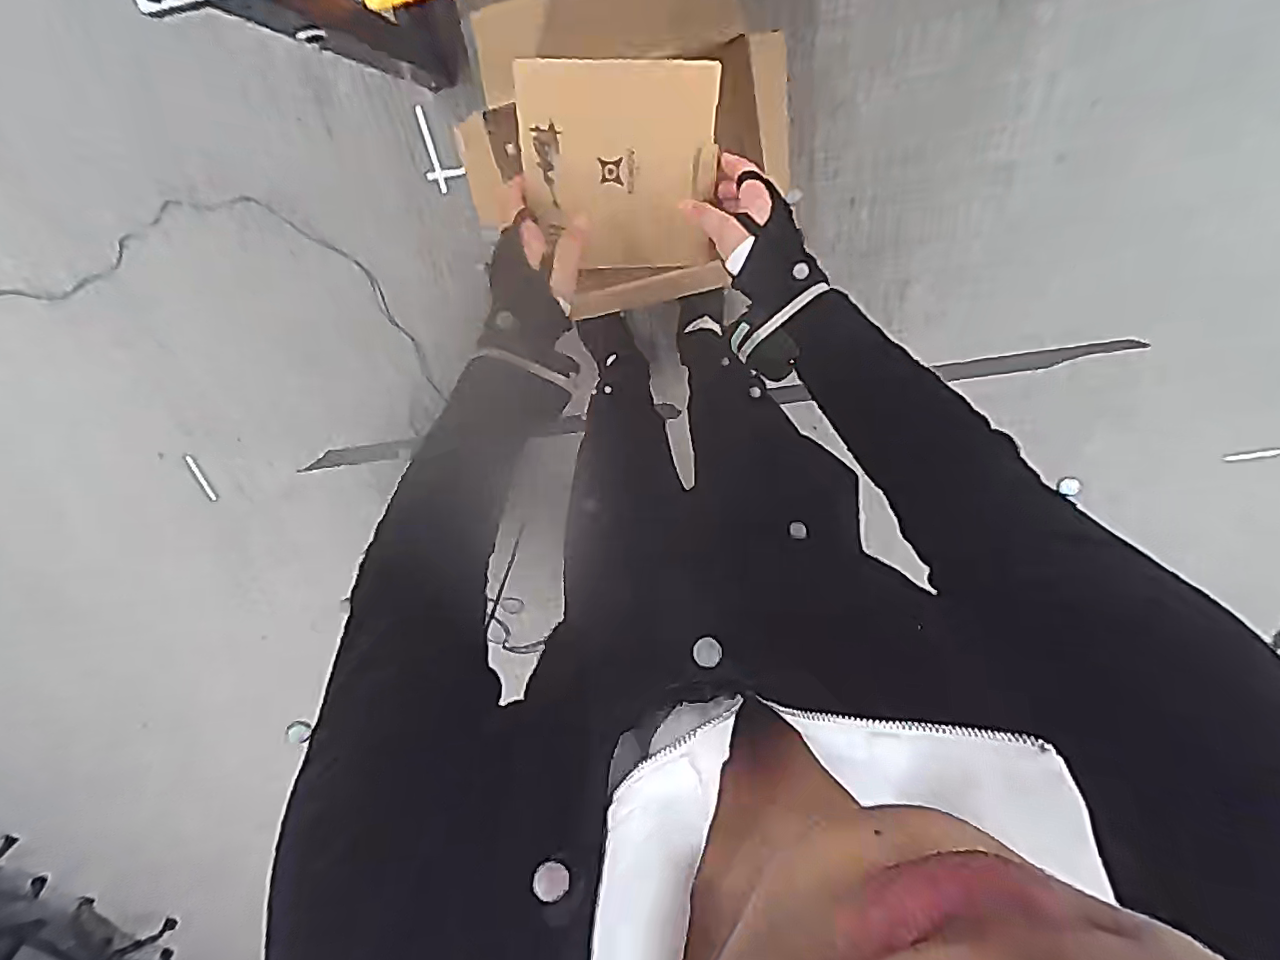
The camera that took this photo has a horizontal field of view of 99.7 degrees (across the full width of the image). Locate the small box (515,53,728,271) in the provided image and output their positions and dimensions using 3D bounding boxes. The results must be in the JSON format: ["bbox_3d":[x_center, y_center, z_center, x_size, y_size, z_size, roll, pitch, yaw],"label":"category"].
[{"bbox_3d":[-0.026,-0.314,0.540,0.179,0.176,0.168,-3,124,-6],"label":"small box"}]
